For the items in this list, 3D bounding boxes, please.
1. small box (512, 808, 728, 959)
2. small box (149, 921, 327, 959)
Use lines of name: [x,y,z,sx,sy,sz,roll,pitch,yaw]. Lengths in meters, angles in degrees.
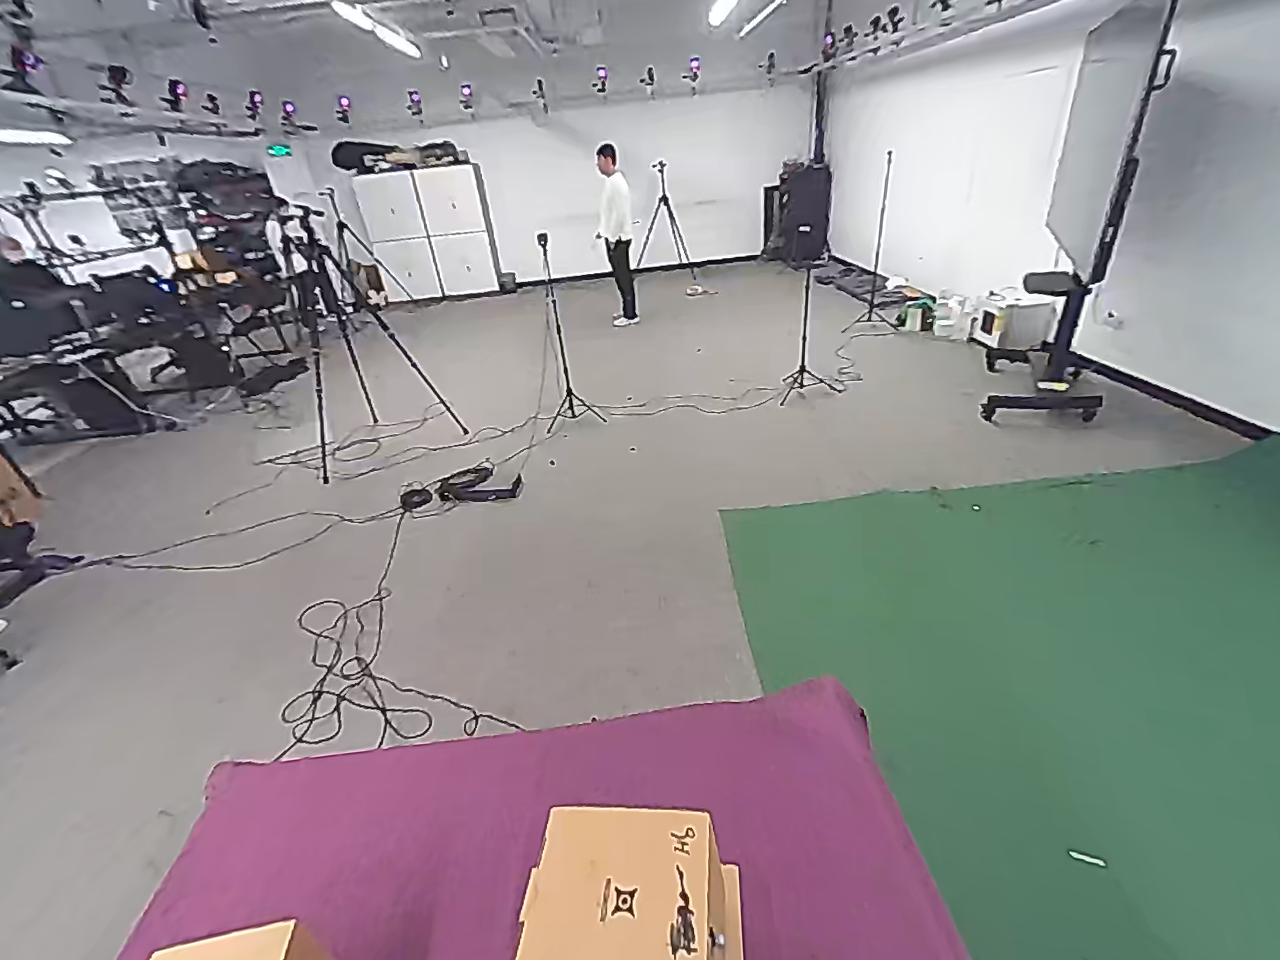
small box: [-0.008,0.462,0.546,0.179,0.176,0.168,-5,32,12]
small box: [-0.500,0.681,0.652,0.179,0.176,0.168,-9,31,-5]
